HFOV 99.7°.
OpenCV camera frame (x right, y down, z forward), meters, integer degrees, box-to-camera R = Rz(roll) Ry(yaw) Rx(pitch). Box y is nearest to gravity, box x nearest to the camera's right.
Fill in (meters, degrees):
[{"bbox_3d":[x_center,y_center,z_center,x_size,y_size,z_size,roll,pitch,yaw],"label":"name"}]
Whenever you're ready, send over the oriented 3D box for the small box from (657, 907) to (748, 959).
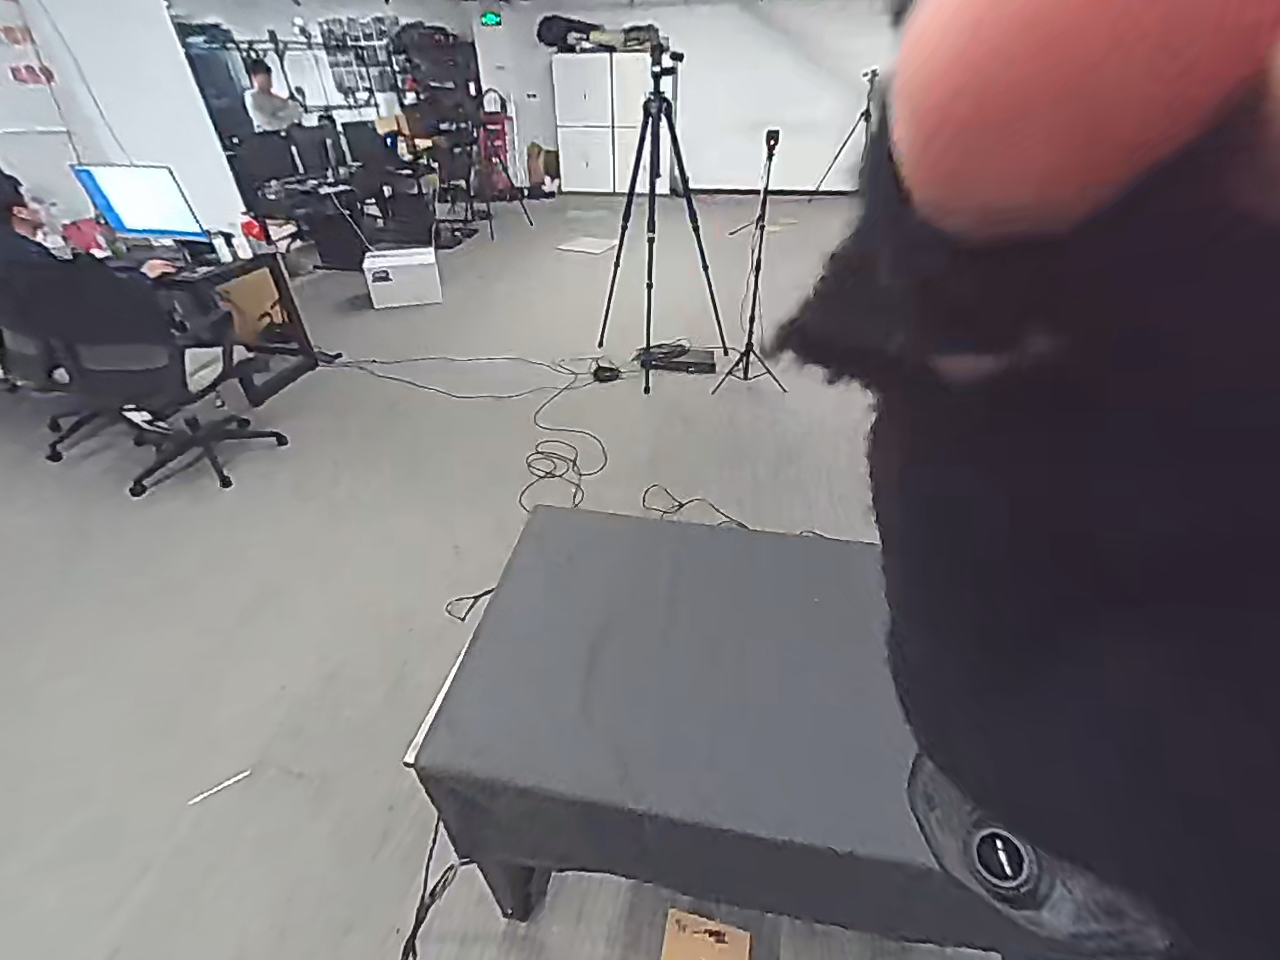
[{"bbox_3d":[0.114,0.987,1.056,0.168,0.176,0.179,8,37,13],"label":"small box"}]
